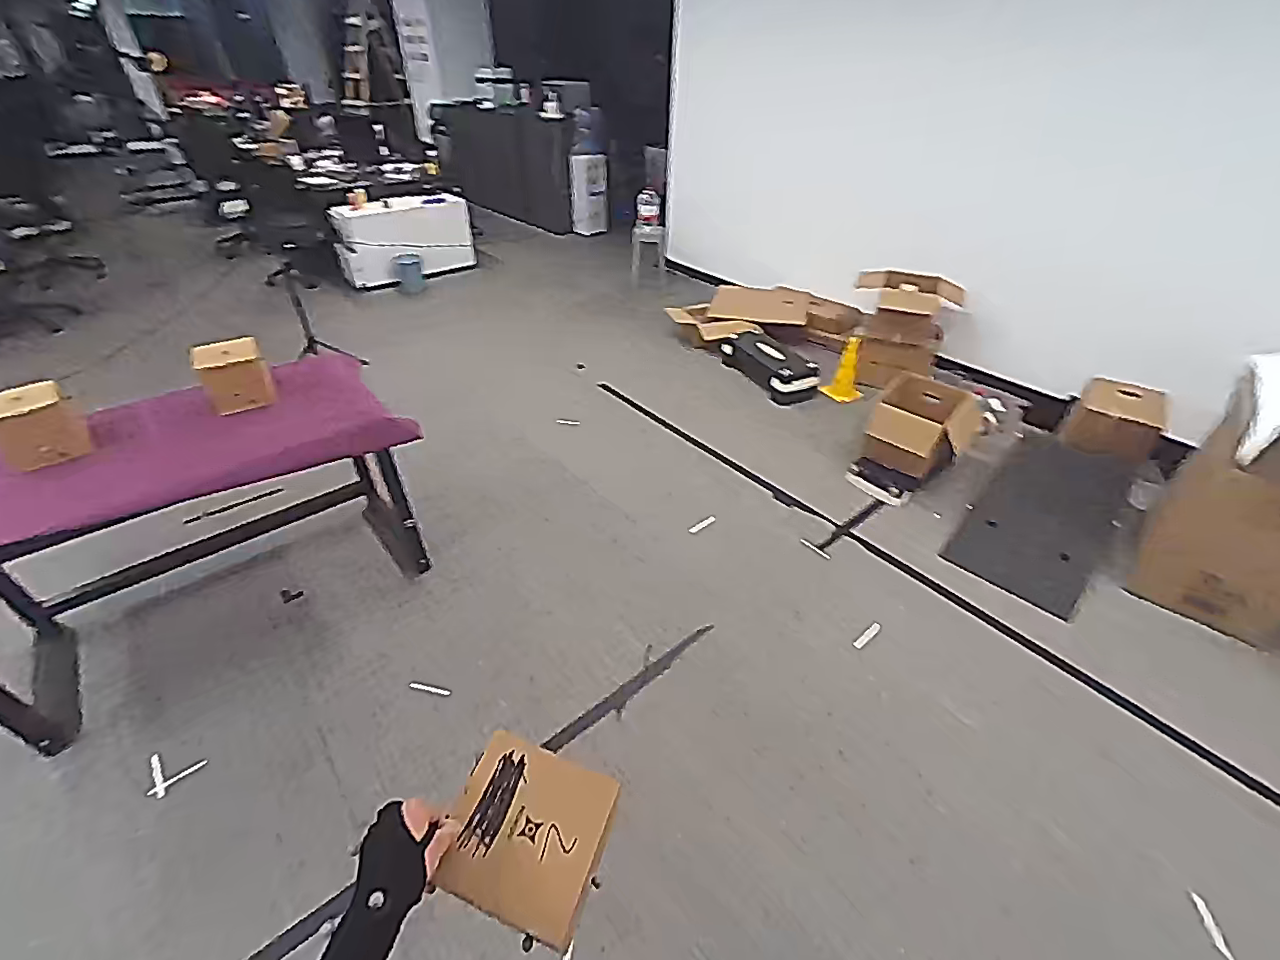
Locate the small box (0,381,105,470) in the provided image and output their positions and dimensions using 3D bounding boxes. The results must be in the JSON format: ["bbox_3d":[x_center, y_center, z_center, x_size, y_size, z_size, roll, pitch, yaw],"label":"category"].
[{"bbox_3d":[-1.679,-0.154,1.538,0.168,0.176,0.179,-29,48,-33],"label":"small box"}]

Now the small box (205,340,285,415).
[{"bbox_3d":[-1.301,-0.340,1.785,0.168,0.176,0.179,-22,45,-26],"label":"small box"}]
